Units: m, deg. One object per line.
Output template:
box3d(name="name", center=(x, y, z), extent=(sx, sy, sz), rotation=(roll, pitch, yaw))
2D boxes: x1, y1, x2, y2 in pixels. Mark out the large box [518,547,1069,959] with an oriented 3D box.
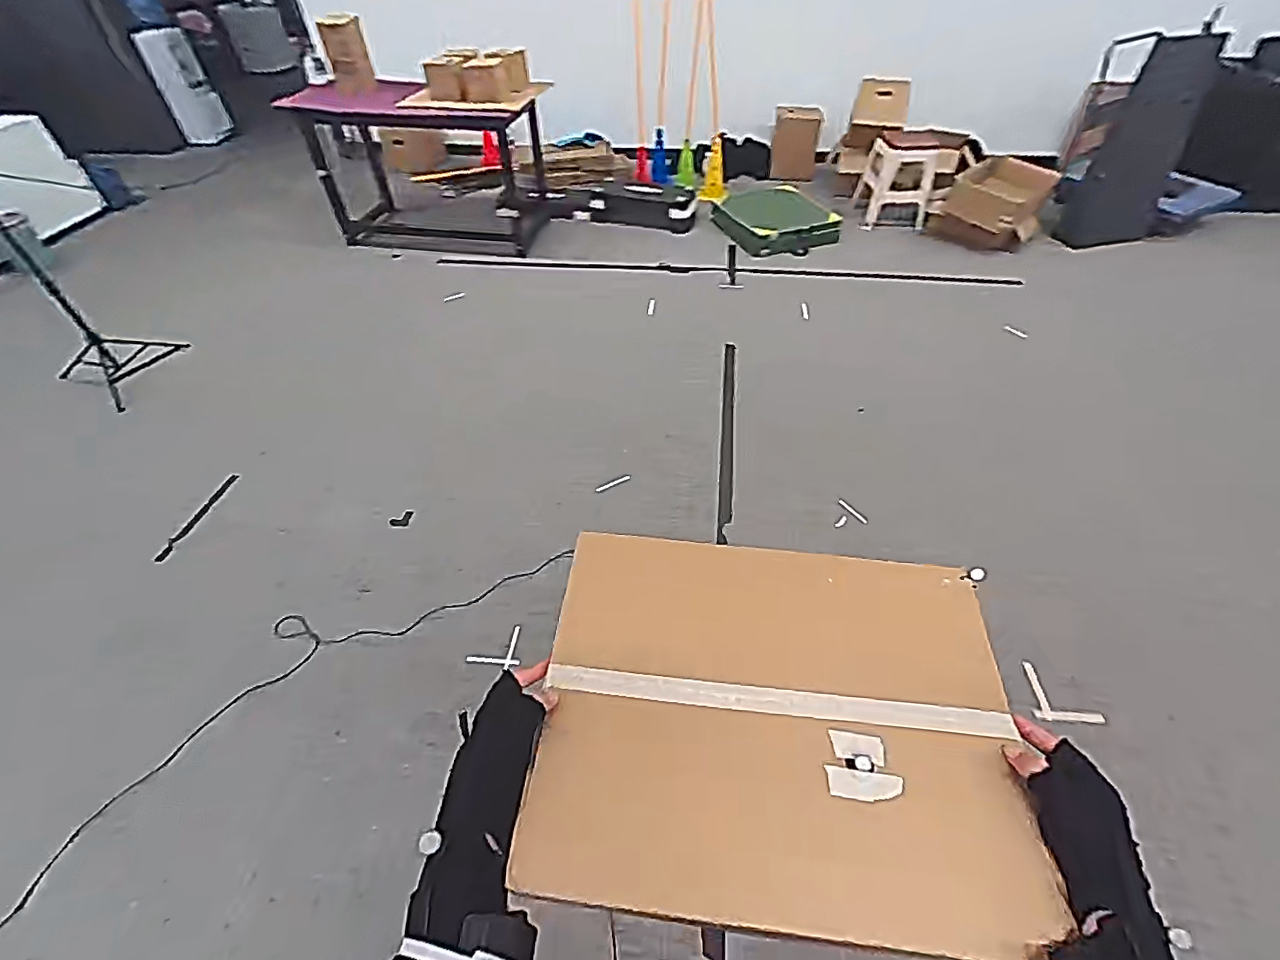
box3d(name="large box", center=(0.117, 0.298, 0.595), extent=(0.408, 0.320, 0.320), rotation=(5, 52, 4))
